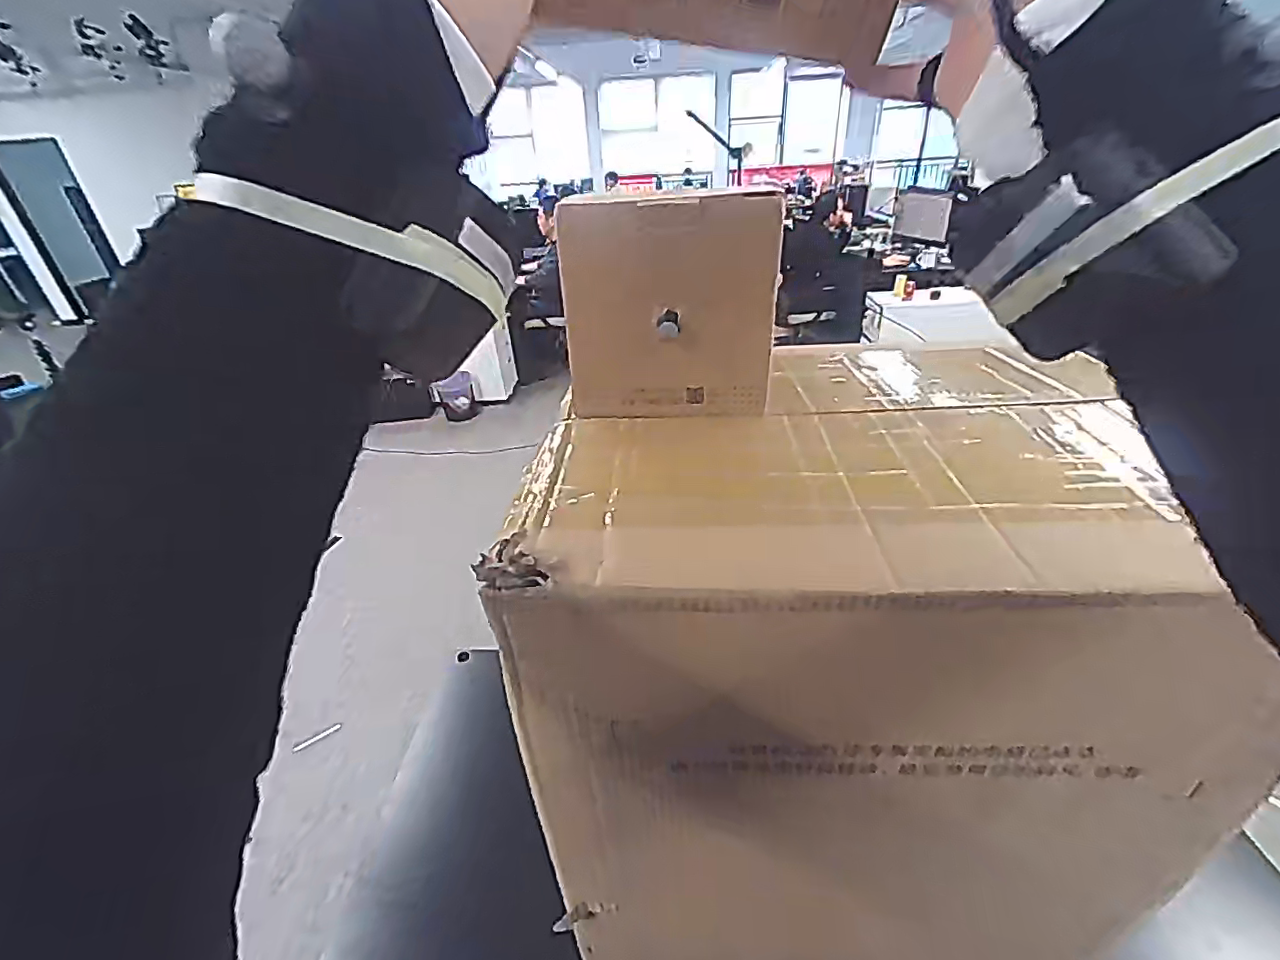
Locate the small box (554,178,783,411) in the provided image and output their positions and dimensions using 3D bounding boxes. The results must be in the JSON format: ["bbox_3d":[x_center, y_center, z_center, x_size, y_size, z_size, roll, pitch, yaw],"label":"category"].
[{"bbox_3d":[0.030,-0.168,0.488,0.168,0.176,0.179,0,30,5],"label":"small box"}]

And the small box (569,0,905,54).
[{"bbox_3d":[0.038,-0.312,0.225,0.168,0.176,0.179,1,51,-7],"label":"small box"}]
